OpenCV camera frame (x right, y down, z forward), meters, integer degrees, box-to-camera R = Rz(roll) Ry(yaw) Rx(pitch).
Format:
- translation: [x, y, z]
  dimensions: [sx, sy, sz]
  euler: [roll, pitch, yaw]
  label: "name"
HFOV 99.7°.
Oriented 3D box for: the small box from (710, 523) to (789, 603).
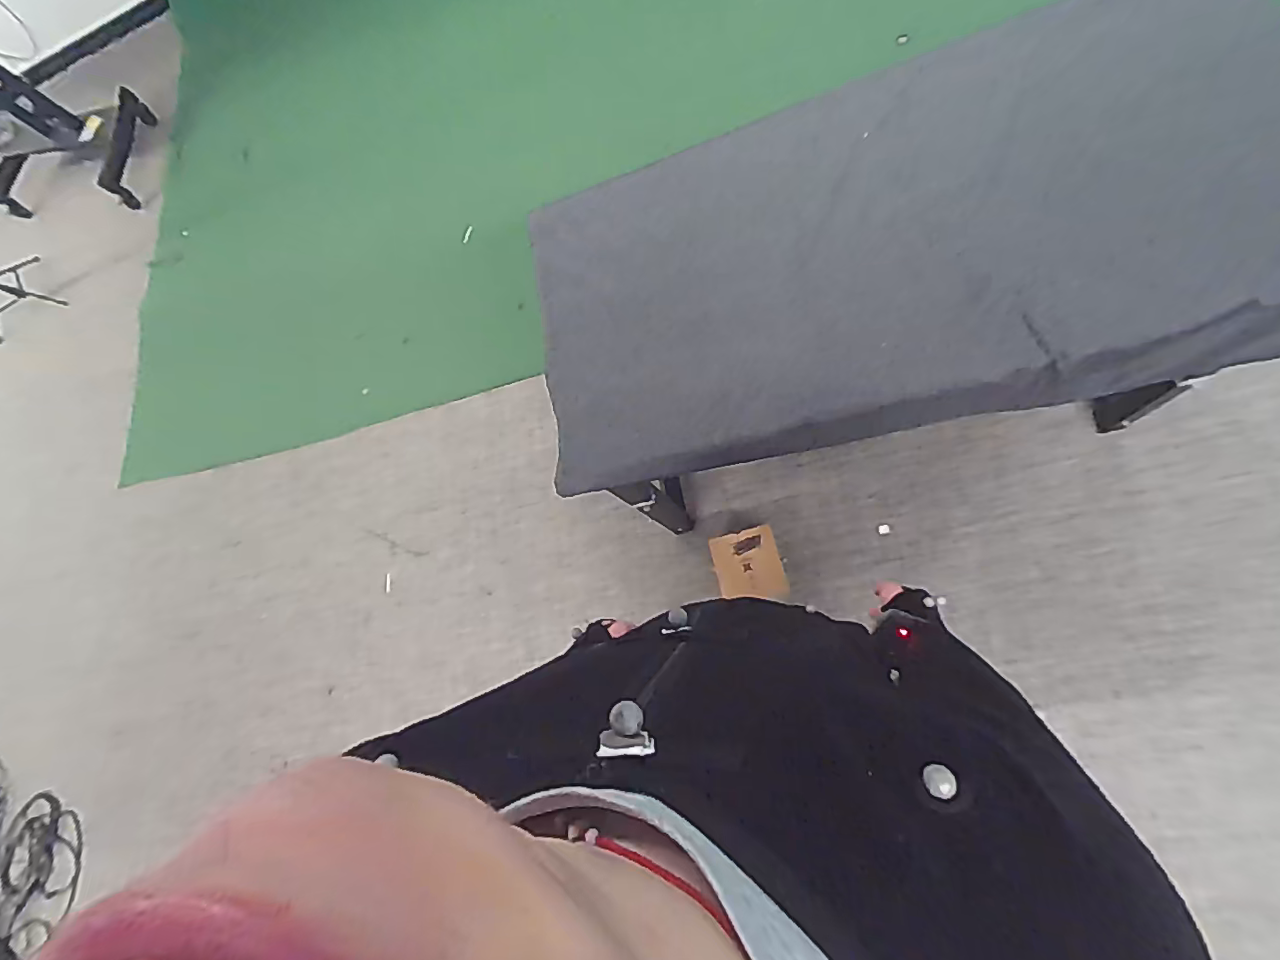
- translation: [0.296, 0.228, 1.448]
  dimensions: [0.168, 0.176, 0.179]
  euler: [-16, 73, 13]
  label: "small box"
